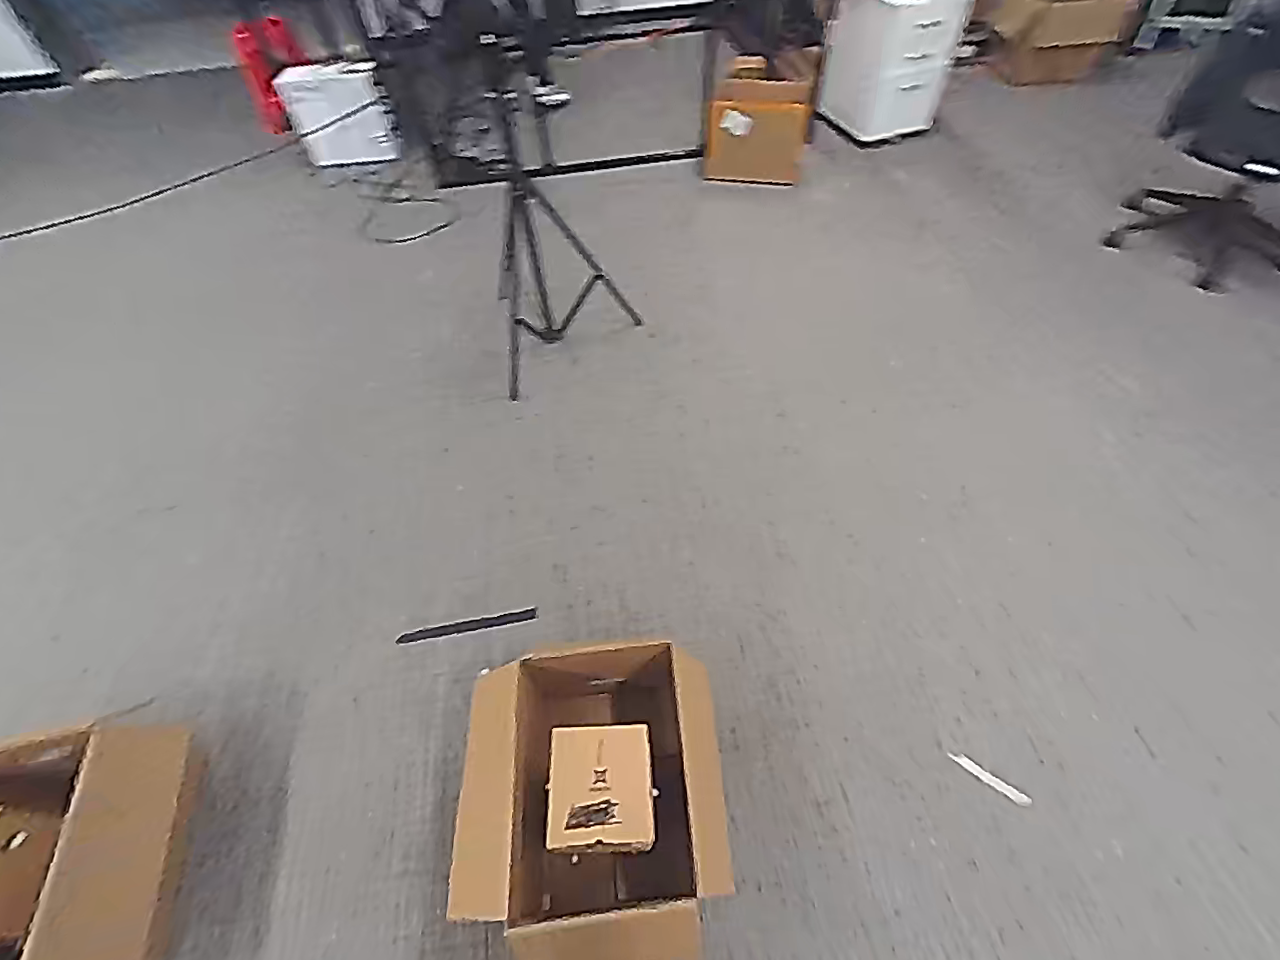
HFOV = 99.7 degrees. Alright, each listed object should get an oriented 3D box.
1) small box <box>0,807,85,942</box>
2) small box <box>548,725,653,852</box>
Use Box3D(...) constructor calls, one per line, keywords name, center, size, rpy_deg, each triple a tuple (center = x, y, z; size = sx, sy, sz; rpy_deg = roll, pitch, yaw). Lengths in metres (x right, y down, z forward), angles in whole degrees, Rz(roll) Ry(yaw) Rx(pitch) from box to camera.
Box3D(name="small box", center=(-1.119, 0.679, 0.917), size=(0.168, 0.176, 0.179), rpy_deg=(-11, 55, -4))
Box3D(name="small box", center=(-0.062, 0.546, 0.950), size=(0.168, 0.176, 0.179), rpy_deg=(-1, 51, -1))
